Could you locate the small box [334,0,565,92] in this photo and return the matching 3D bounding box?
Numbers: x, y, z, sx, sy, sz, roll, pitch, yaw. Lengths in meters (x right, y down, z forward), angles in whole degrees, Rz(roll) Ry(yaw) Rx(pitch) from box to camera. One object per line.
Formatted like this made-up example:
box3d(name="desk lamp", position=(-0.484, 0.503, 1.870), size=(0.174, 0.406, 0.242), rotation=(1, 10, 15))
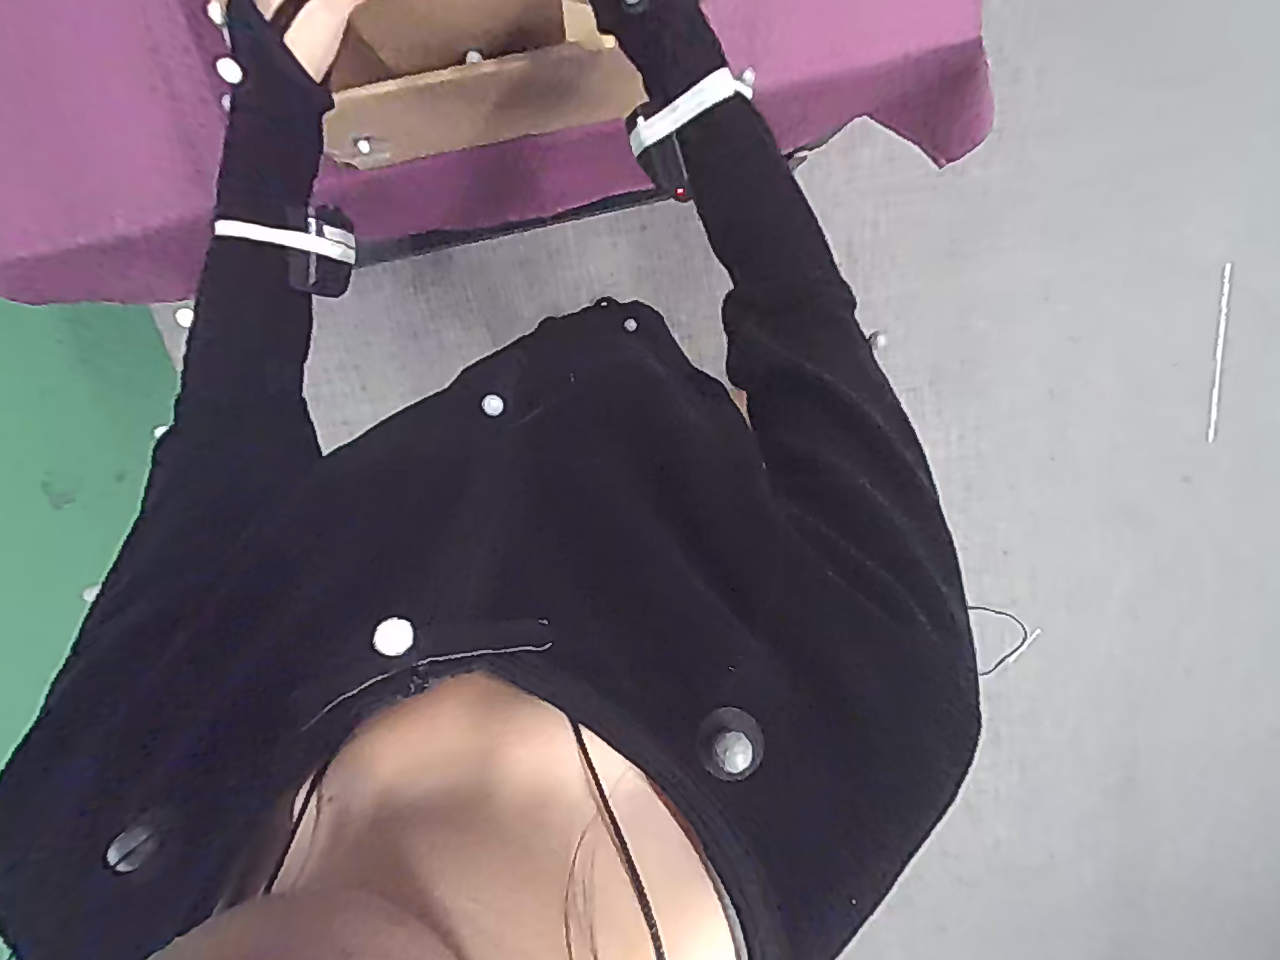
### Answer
box3d(name="small box", position=(-0.161, -0.456, 0.437), size=(0.168, 0.176, 0.179), rotation=(-13, 110, 0))
